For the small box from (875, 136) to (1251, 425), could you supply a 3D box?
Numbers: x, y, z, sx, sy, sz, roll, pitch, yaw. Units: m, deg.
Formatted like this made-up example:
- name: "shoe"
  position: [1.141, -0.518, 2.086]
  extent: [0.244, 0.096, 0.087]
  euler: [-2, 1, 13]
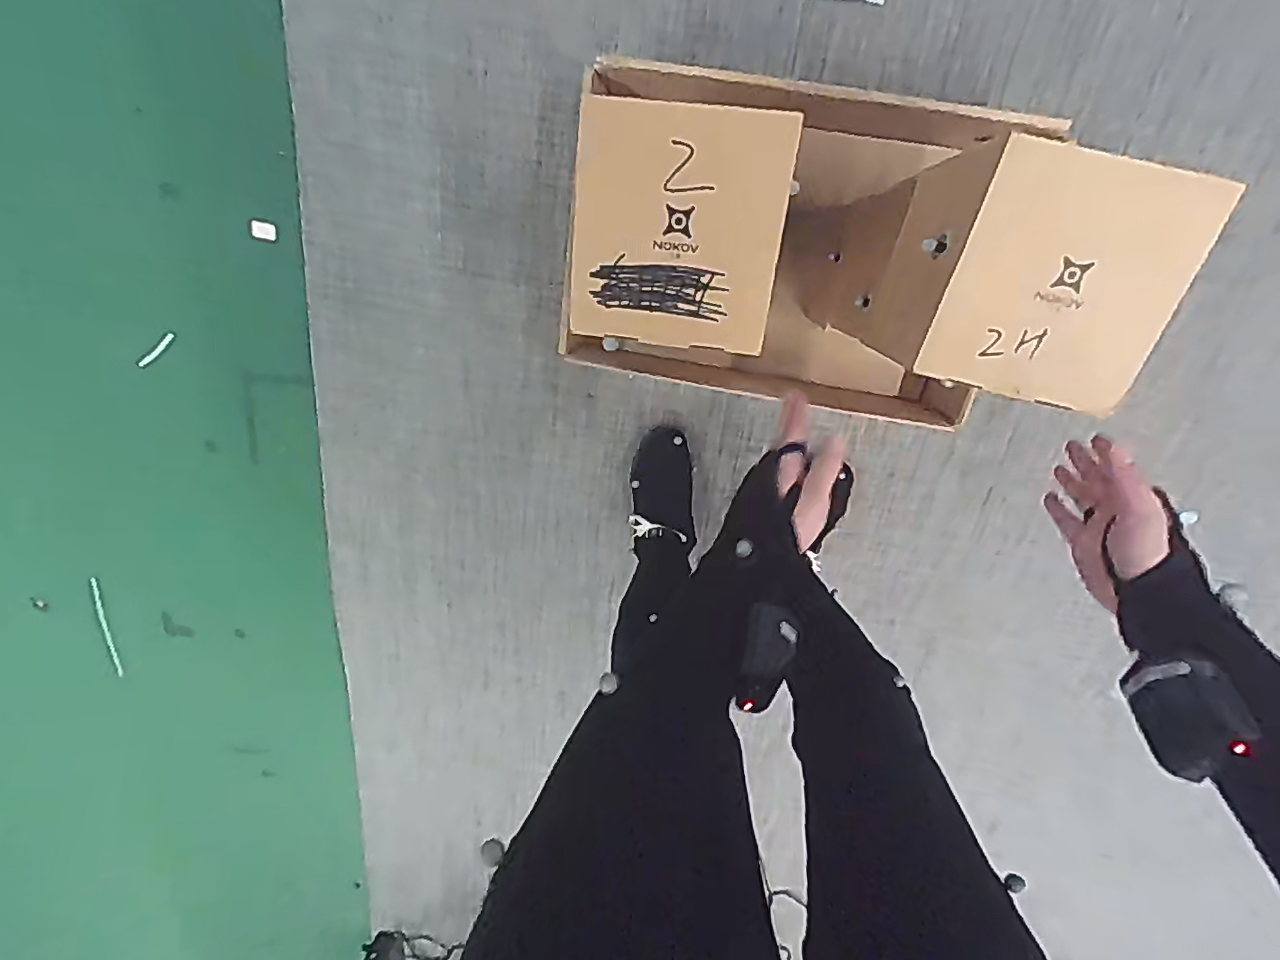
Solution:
- name: "small box"
  position: [0.334, -0.171, 0.479]
  extent: [0.168, 0.176, 0.179]
  euler: [15, 113, 2]

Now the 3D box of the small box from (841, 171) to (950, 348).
- name: "small box"
  position: [0.355, -0.234, 0.631]
  extent: [0.168, 0.176, 0.179]
  euler: [14, 113, 1]
